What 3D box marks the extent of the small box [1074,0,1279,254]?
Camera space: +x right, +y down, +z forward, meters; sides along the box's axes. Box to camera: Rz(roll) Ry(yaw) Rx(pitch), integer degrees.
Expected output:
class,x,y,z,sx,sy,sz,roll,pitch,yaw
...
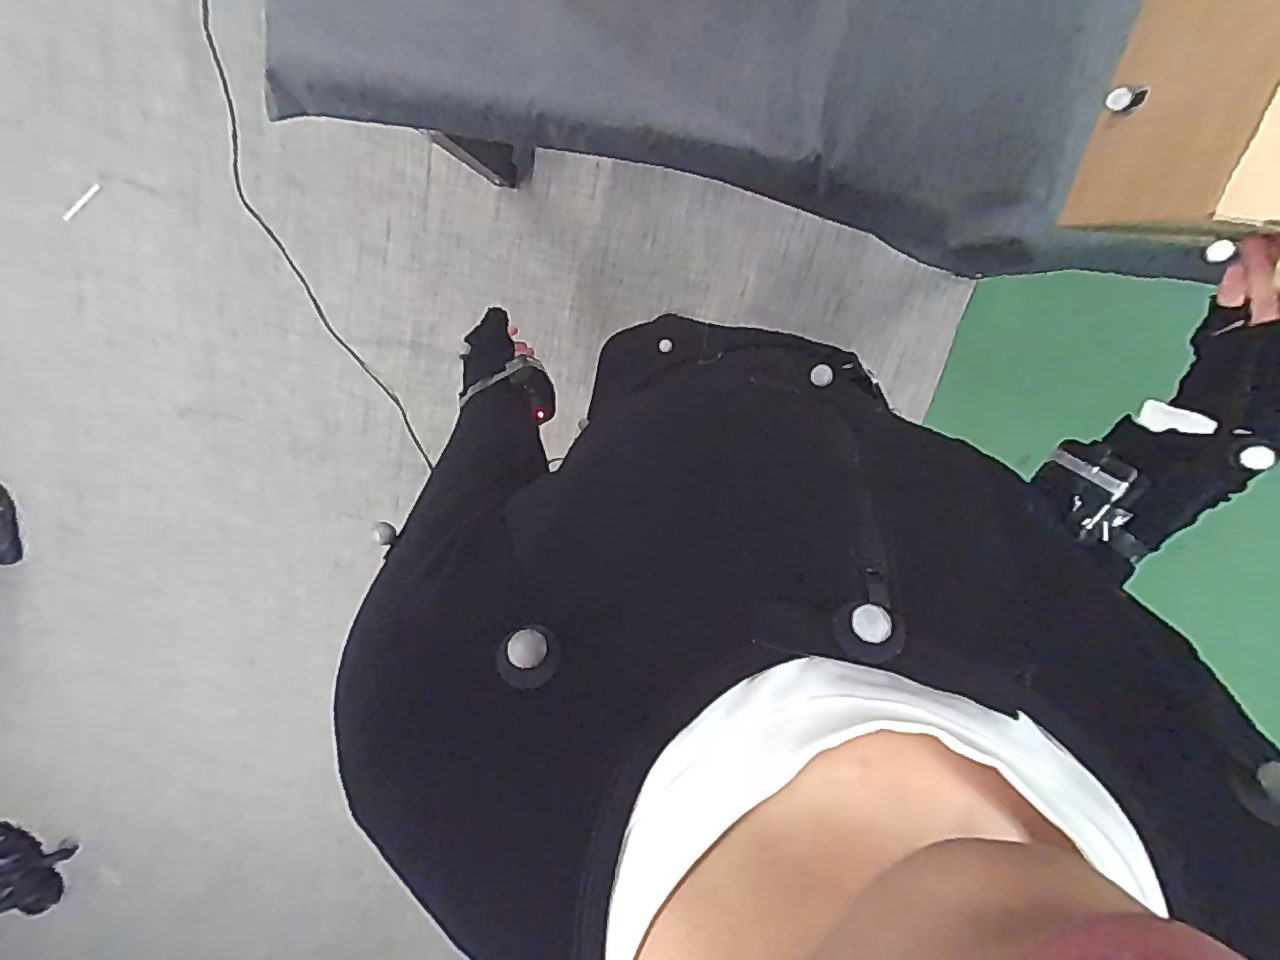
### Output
class,x,y,z,sx,sy,sz,roll,pitch,yaw
small box,0.446,-0.252,0.362,0.168,0.176,0.179,9,115,4
